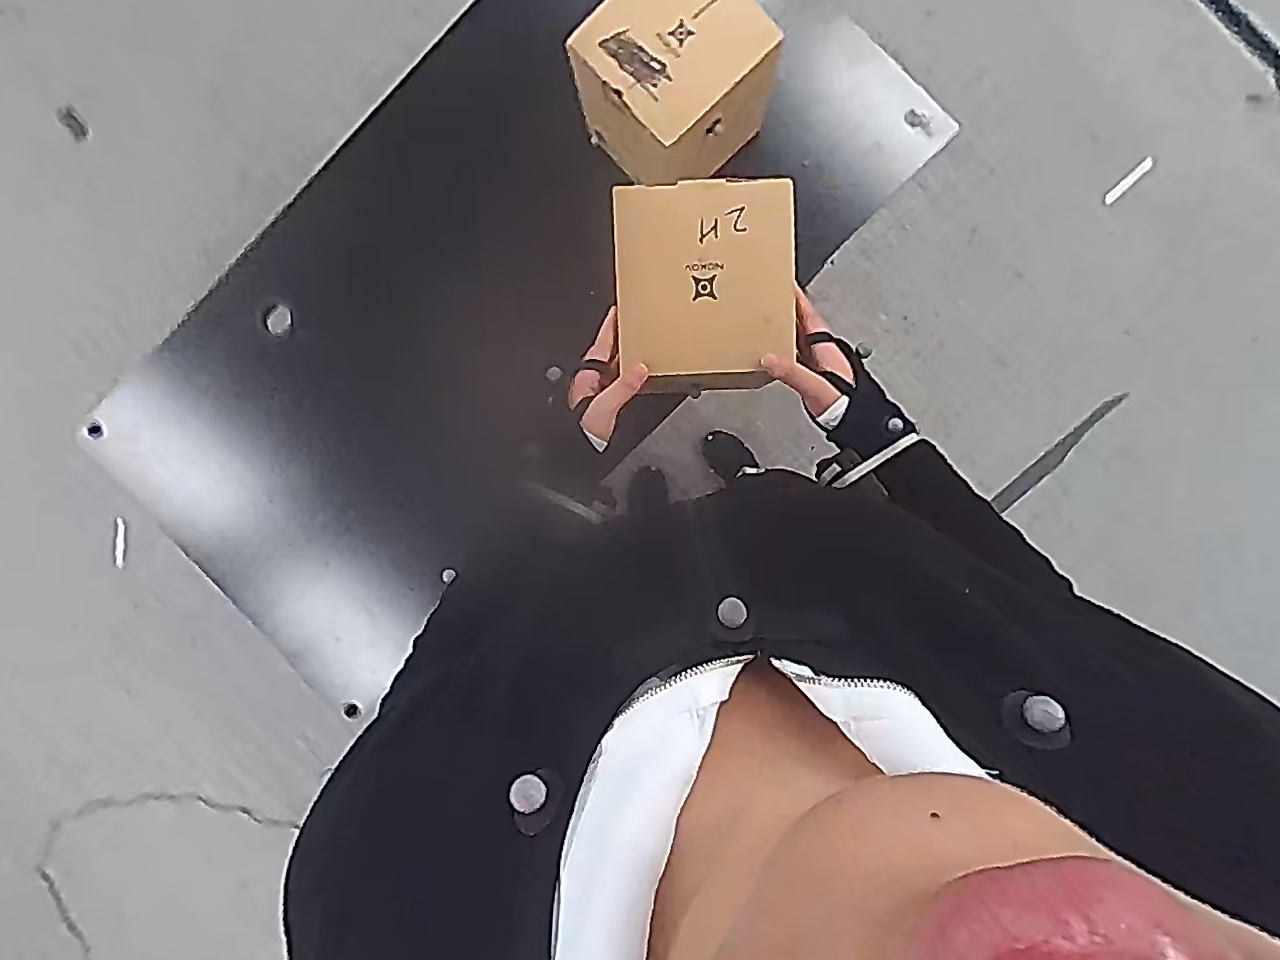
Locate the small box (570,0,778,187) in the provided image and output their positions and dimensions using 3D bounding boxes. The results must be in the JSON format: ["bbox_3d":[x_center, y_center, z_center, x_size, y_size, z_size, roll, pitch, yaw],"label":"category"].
[{"bbox_3d":[0.043,-0.483,0.677,0.179,0.176,0.168,-42,89,3],"label":"small box"}]

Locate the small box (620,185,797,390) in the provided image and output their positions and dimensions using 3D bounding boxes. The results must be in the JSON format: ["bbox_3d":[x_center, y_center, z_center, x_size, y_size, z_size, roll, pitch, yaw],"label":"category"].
[{"bbox_3d":[0.065,-0.192,0.586,0.168,0.176,0.179,0,93,0],"label":"small box"}]
